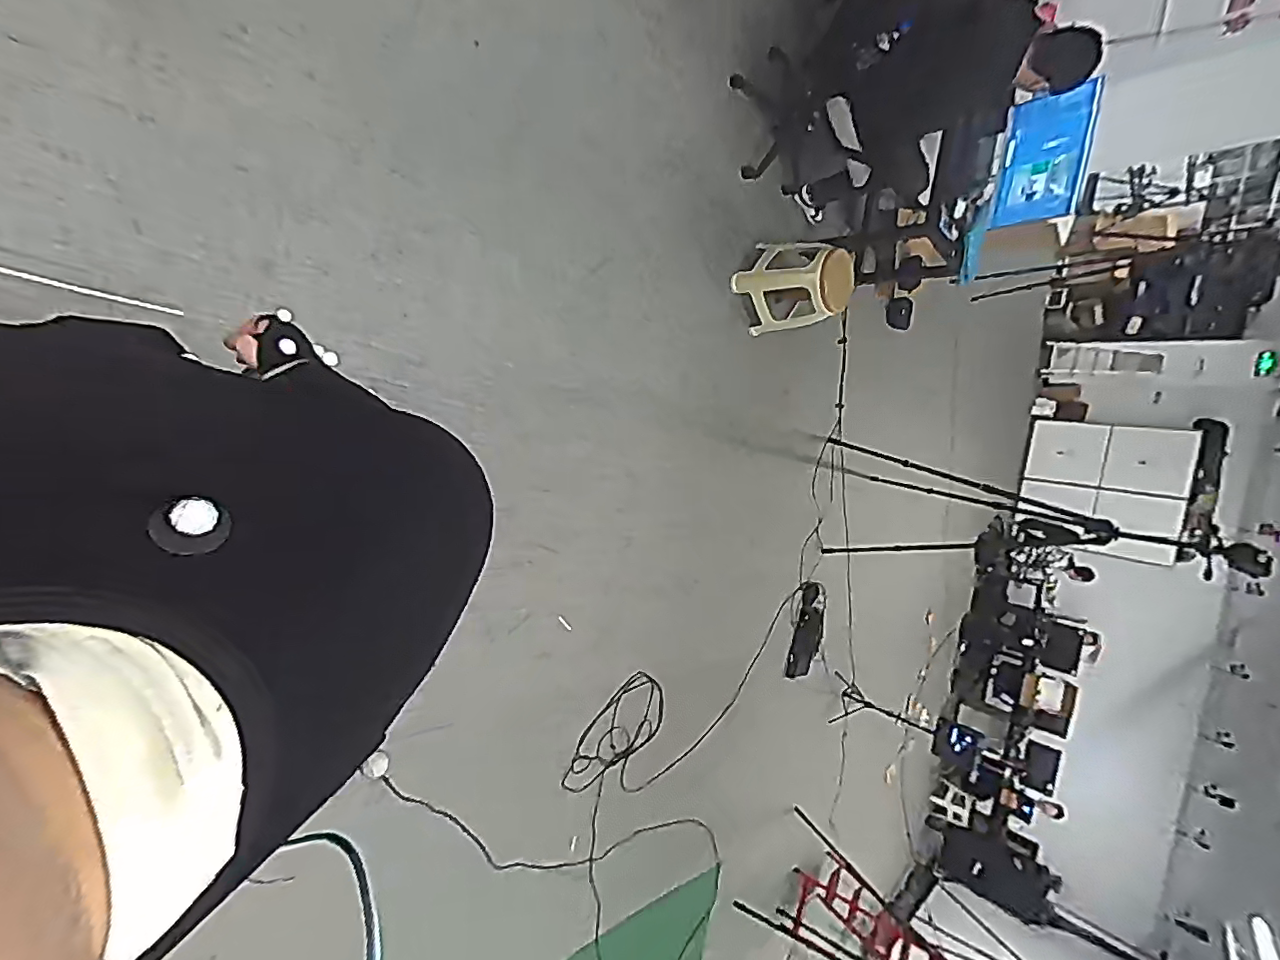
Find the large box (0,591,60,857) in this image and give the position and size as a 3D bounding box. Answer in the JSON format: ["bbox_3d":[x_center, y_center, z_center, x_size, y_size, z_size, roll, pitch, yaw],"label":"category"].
[{"bbox_3d":[-1.185,0.396,0.842,0.320,0.320,0.408,-16,111,-42],"label":"large box"}]
